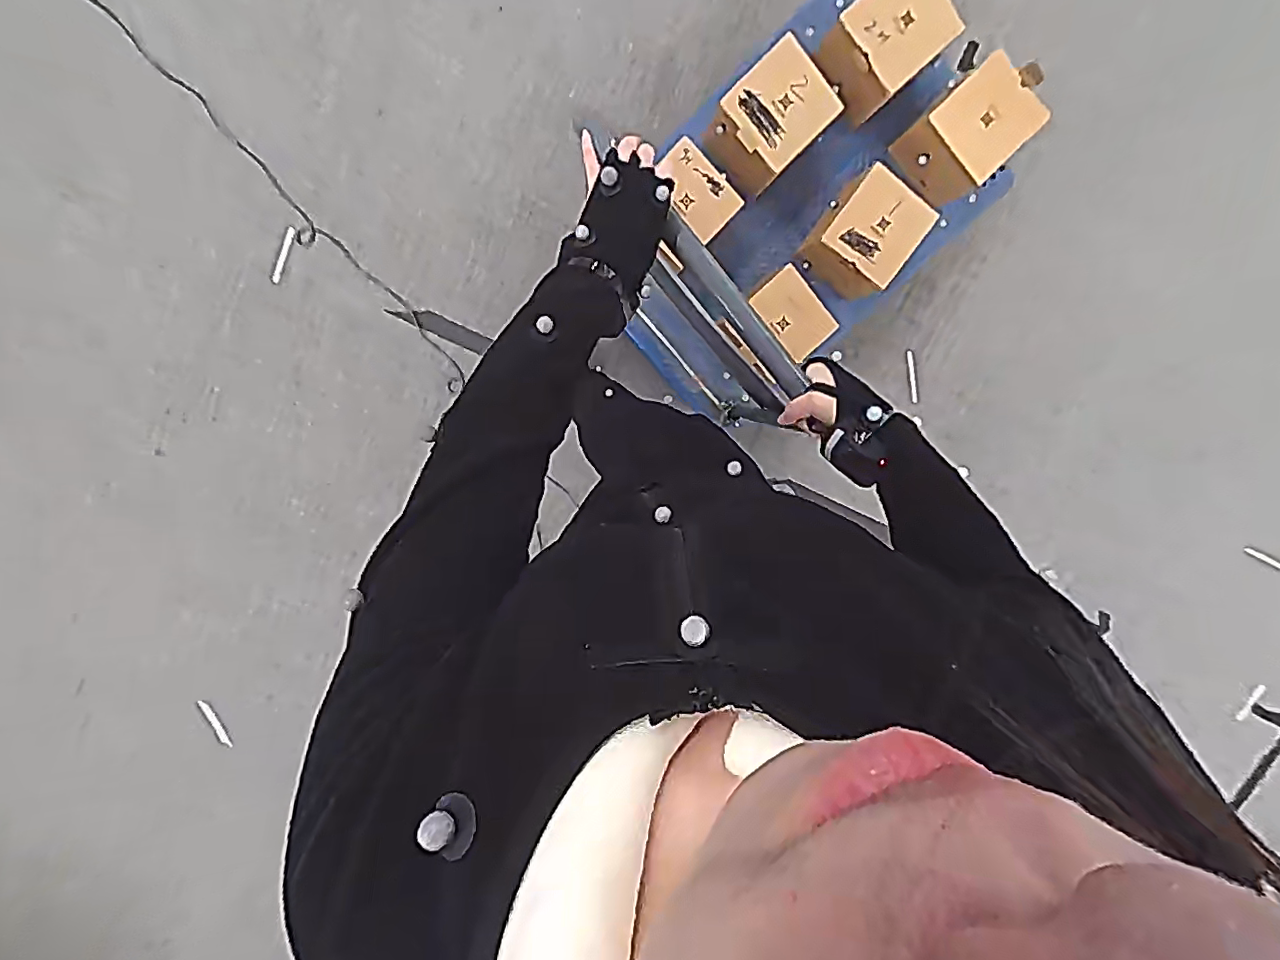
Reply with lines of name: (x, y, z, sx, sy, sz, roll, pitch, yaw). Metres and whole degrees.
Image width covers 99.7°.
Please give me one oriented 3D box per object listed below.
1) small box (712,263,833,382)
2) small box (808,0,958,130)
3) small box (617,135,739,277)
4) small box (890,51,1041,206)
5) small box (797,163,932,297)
small box: (0.271, -0.330, 1.163, 0.179, 0.176, 0.168, -41, 102, 5)
small box: (0.465, -0.844, 1.062, 0.179, 0.176, 0.168, -39, 101, 6)
small box: (0.070, -0.542, 1.102, 0.179, 0.176, 0.168, -45, 102, 6)
small box: (0.646, -0.700, 1.105, 0.179, 0.176, 0.168, -44, 101, 6)
small box: (0.454, -0.509, 1.134, 0.168, 0.176, 0.179, 35, 97, -10)
